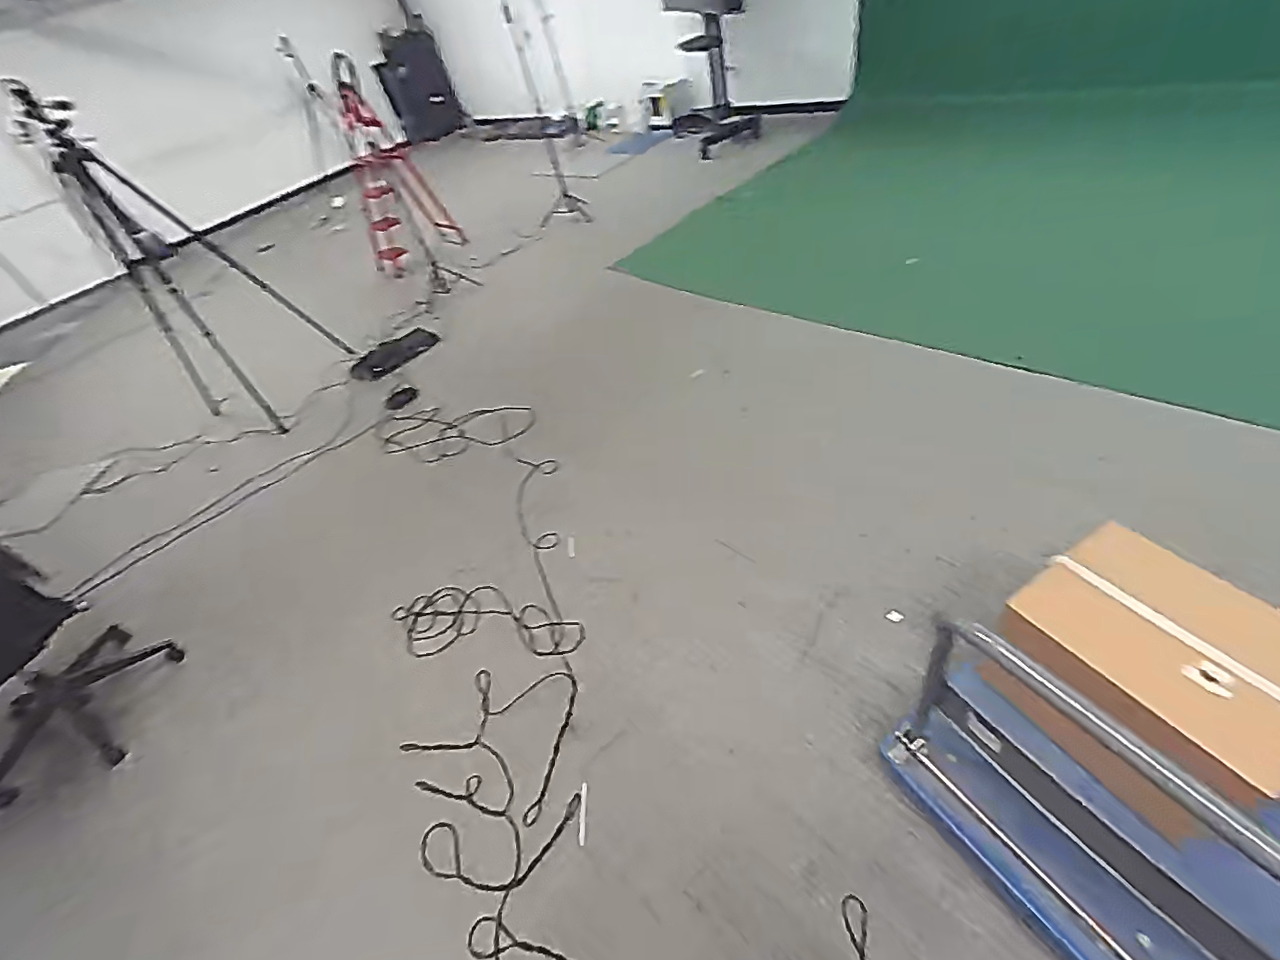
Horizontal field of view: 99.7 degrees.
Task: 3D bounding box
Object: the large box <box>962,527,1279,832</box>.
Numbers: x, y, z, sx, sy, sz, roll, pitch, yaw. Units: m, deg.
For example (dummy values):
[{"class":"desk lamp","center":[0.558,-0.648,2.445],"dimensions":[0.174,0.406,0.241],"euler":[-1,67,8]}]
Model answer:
[{"class":"large box","center":[0.942,0.376,1.063],"dimensions":[0.320,0.320,0.408],"euler":[-31,46,-12]}]
